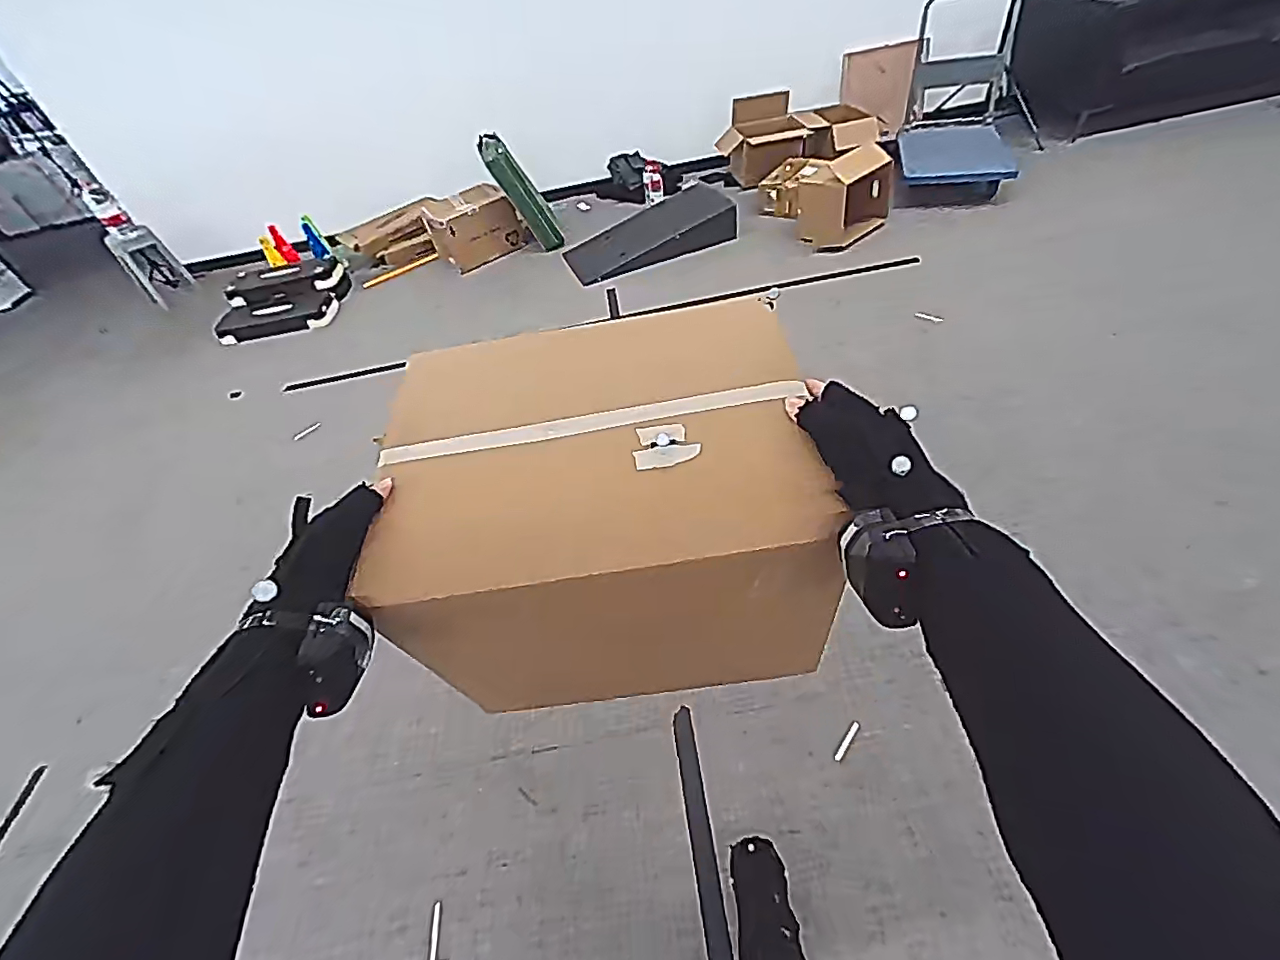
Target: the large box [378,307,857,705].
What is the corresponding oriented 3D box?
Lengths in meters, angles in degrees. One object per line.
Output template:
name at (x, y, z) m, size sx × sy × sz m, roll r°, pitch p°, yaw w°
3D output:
large box at (-0.019, 0.042, 0.642) m, size 0.408 × 0.320 × 0.320 m, roll -9°, pitch 52°, yaw 2°
